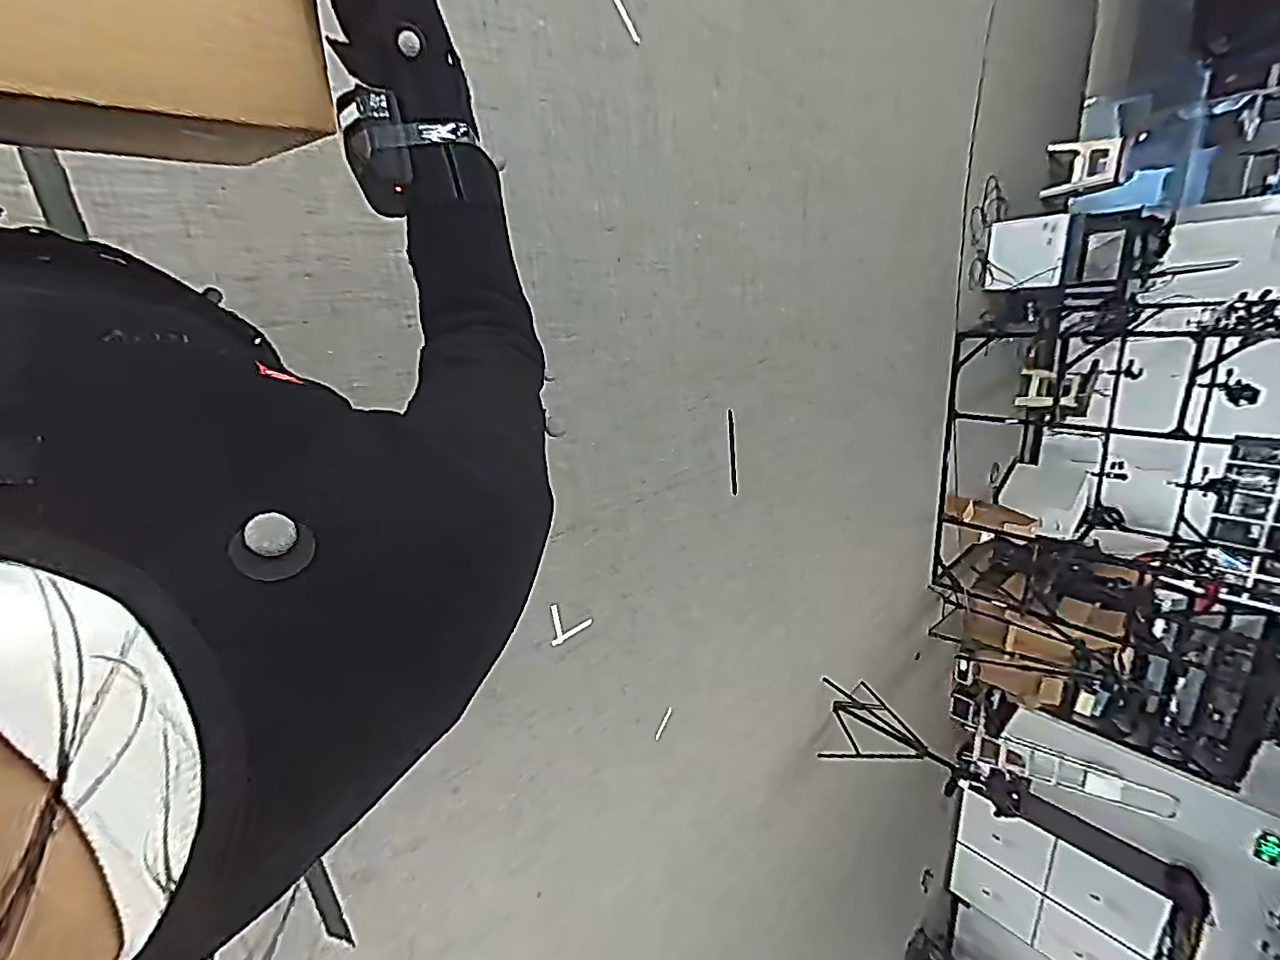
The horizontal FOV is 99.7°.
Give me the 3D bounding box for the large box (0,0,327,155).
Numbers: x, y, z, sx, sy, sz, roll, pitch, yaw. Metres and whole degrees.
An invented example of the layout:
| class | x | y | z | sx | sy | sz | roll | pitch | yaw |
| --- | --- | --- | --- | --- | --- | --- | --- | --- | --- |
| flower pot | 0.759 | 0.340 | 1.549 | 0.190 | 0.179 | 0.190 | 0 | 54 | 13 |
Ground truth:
| class | x | y | z | sx | sy | sz | roll | pitch | yaw |
| --- | --- | --- | --- | --- | --- | --- | --- | --- | --- |
| large box | -0.461 | -0.377 | 0.286 | 0.408 | 0.320 | 0.320 | -21 | 124 | -39 |
